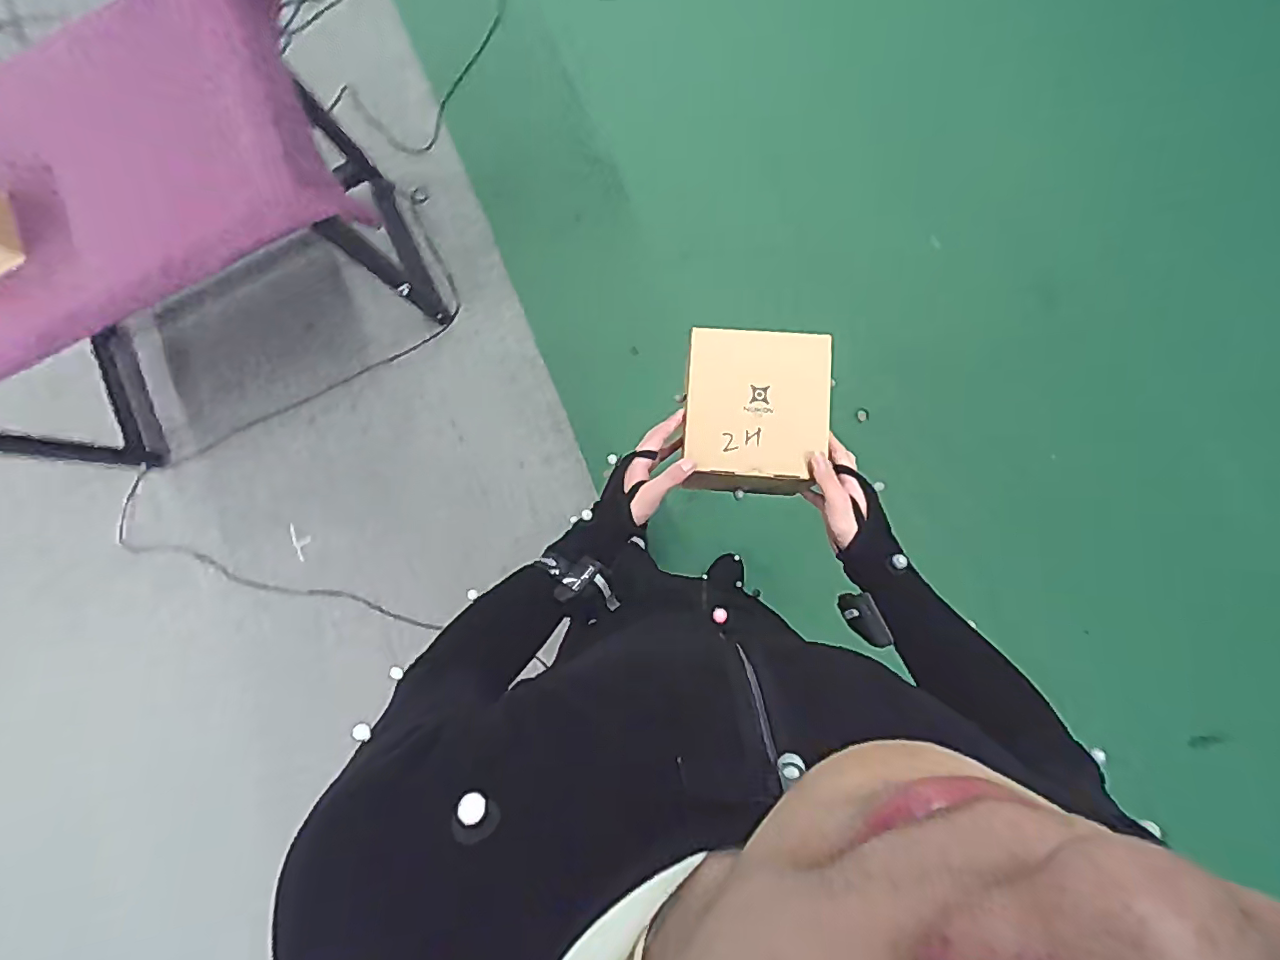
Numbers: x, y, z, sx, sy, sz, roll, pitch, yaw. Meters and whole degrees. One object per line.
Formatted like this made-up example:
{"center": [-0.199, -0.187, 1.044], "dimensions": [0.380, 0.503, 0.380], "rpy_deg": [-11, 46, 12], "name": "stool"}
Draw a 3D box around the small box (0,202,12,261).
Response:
{"center": [-1.381, -0.507, 1.034], "dimensions": [0.168, 0.176, 0.179], "rpy_deg": [-26, 82, 3], "name": "small box"}
